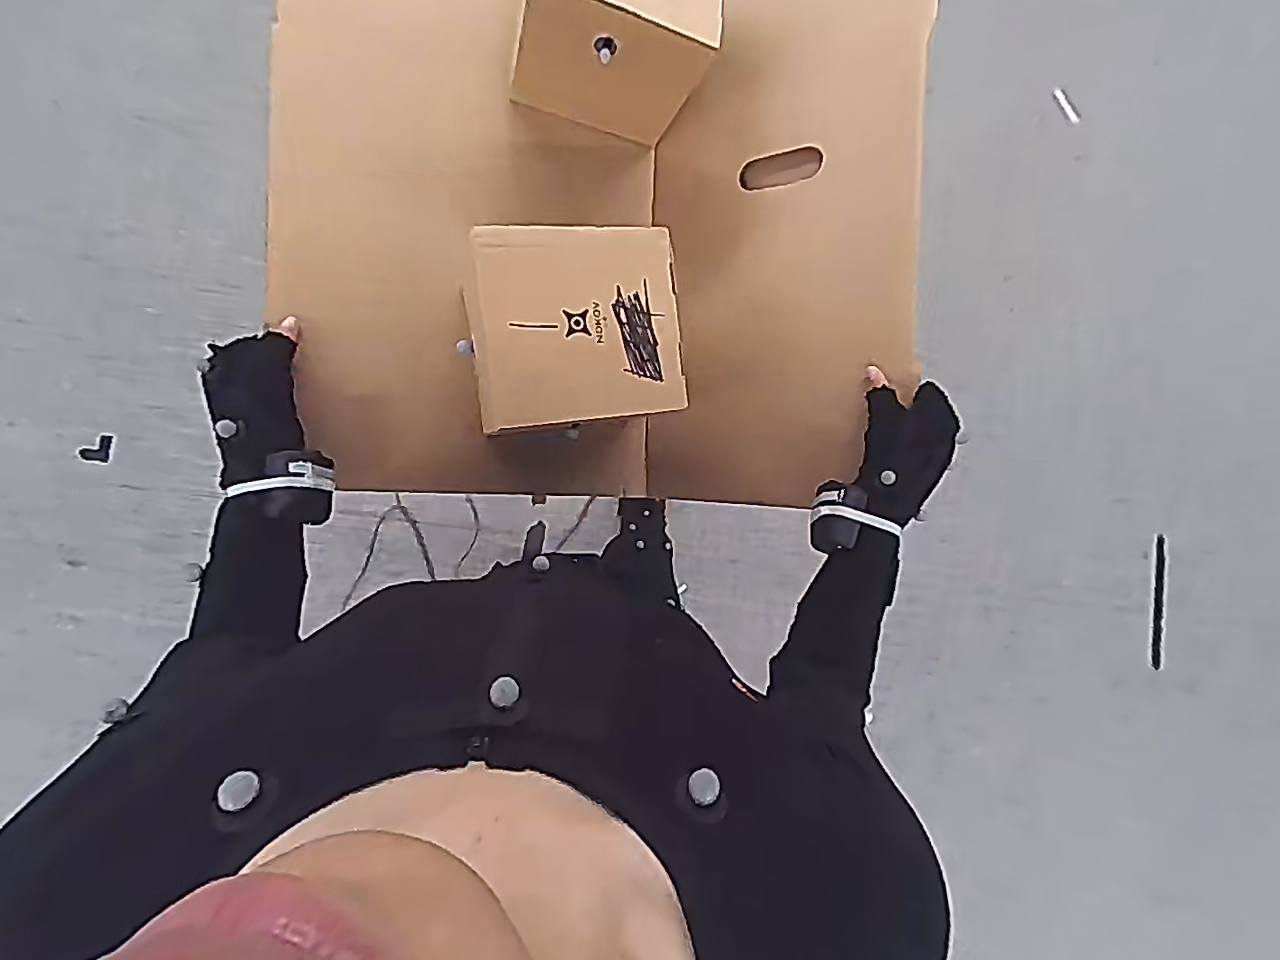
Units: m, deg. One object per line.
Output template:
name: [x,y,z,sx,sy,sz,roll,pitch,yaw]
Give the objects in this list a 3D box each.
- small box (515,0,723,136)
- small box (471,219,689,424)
small box: [-0.026,-0.495,0.554,0.179,0.176,0.168,6,91,-21]
small box: [-0.070,-0.149,0.553,0.179,0.176,0.168,-9,95,-19]
